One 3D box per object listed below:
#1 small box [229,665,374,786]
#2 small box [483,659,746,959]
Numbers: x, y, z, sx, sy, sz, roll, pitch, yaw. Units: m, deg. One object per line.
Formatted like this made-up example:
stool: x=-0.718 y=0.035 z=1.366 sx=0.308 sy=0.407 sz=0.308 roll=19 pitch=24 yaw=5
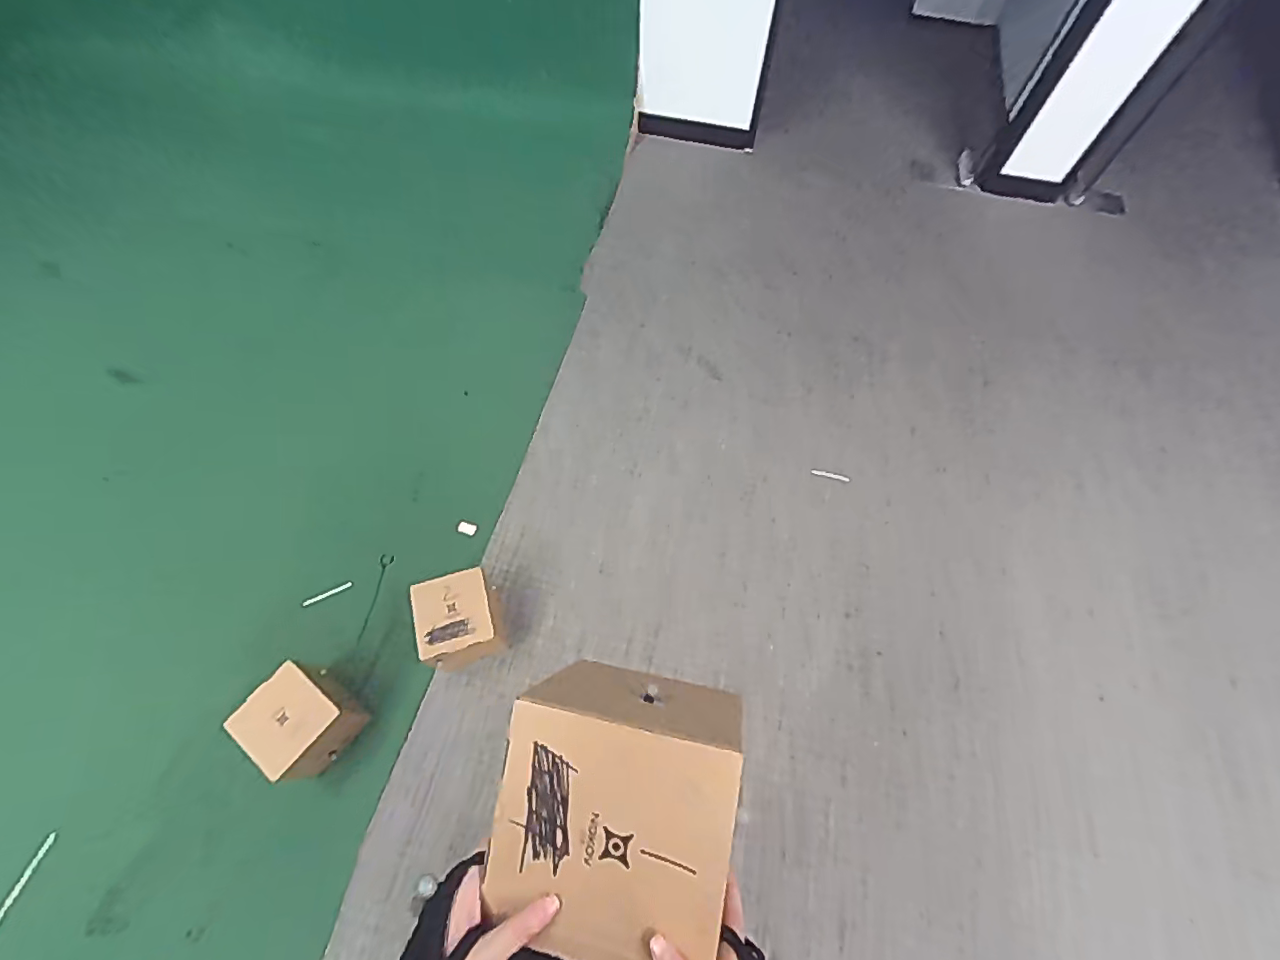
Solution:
small box: x=-0.729 y=0.539 z=1.183 sx=0.179 sy=0.176 sz=0.168 roll=36 pitch=68 yaw=15
small box: x=-0.006 y=0.263 z=0.473 sx=0.179 sy=0.176 sz=0.168 roll=8 pitch=82 yaw=12
